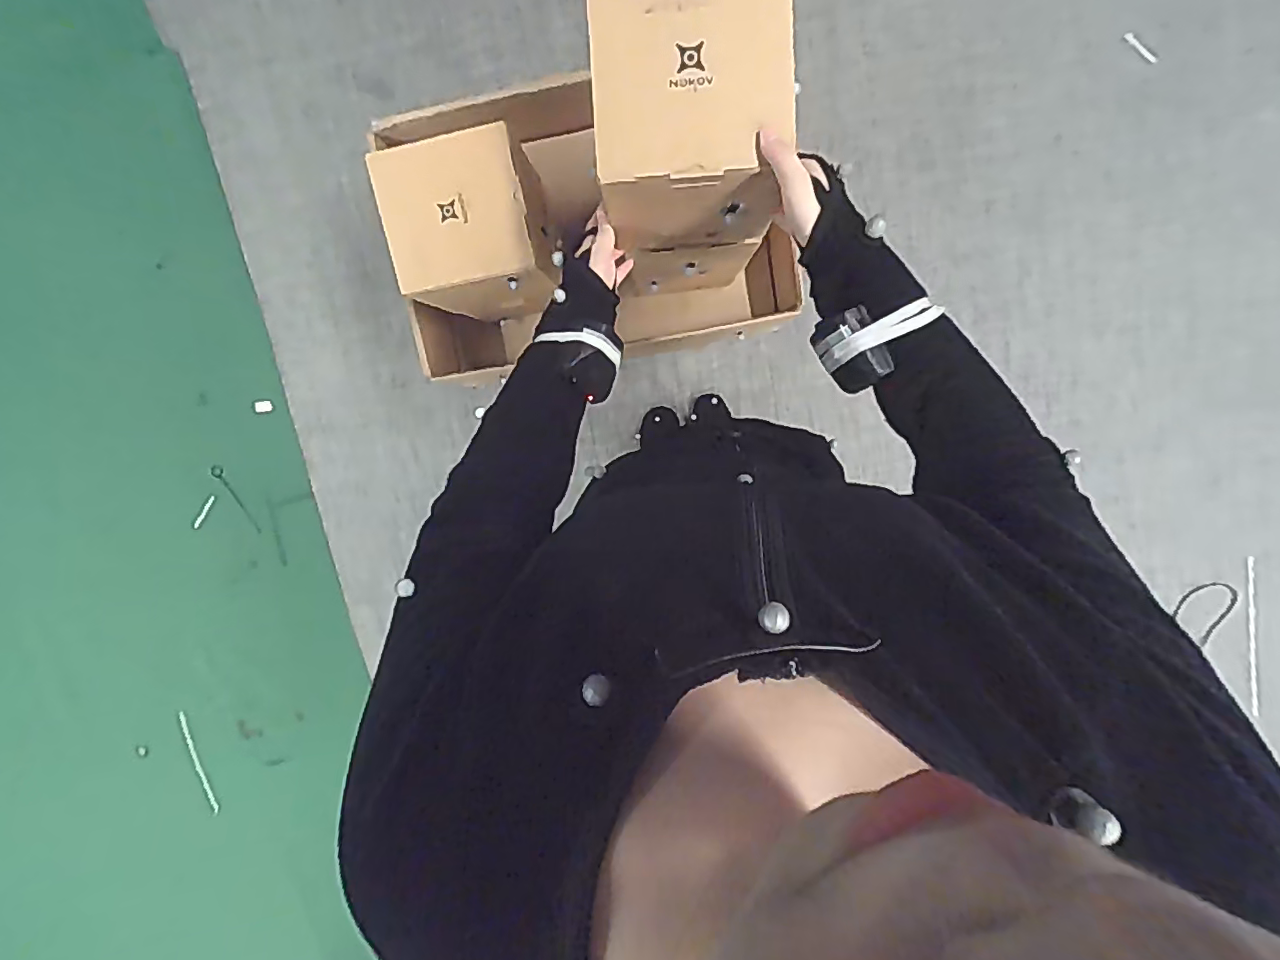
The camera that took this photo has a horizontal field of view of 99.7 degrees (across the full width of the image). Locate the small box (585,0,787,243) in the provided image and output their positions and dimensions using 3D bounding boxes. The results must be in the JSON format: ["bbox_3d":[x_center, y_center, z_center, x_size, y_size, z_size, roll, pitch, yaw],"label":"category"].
[{"bbox_3d":[0.044,-0.343,0.523,0.168,0.176,0.179,-2,94,4],"label":"small box"}]

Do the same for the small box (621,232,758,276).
[{"bbox_3d":[0.060,-0.372,0.706,0.168,0.176,0.179,-3,100,4],"label":"small box"}]

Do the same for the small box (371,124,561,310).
[{"bbox_3d":[-0.220,-0.337,0.731,0.179,0.176,0.168,-11,99,4],"label":"small box"}]
